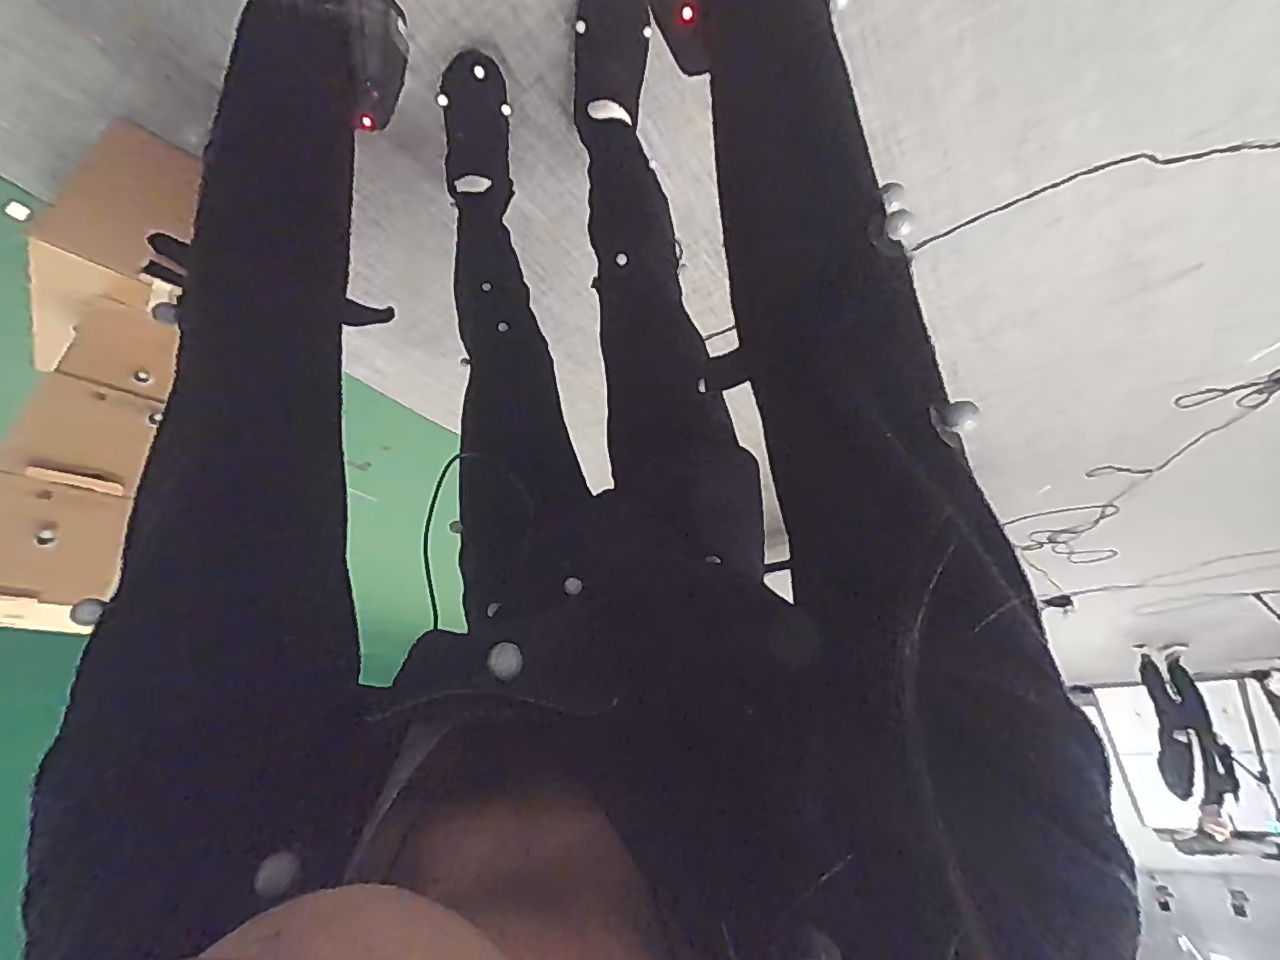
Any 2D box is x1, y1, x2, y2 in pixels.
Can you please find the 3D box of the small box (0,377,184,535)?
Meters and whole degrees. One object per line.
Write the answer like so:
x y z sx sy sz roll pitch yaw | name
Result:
-0.854 -0.033 0.849 0.168 0.176 0.179 22 143 -37 | small box

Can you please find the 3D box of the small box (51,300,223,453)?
-0.858 -0.174 0.932 0.179 0.176 0.168 24 142 -38 | small box

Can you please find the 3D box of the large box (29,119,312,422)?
-0.902 -0.377 1.068 0.320 0.320 0.408 24 144 -37 | large box

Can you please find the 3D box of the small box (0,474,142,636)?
-0.853 0.112 0.771 0.168 0.176 0.179 23 141 -38 | small box
